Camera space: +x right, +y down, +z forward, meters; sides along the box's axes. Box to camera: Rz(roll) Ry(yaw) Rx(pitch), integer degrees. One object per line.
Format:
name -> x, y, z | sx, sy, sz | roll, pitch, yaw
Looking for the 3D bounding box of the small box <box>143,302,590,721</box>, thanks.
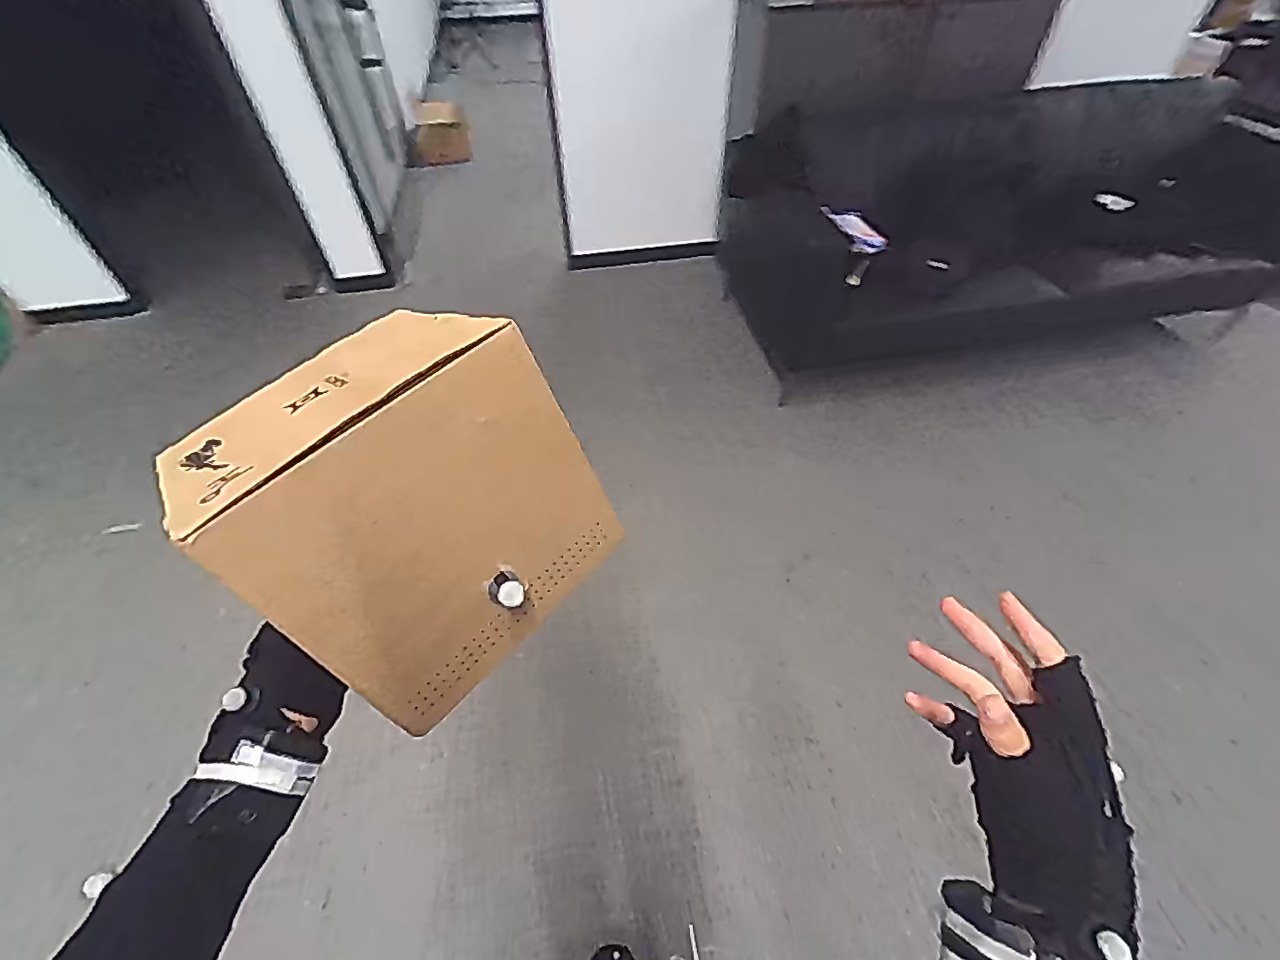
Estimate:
small box -> -0.153, 0.007, 0.343 | 0.168, 0.176, 0.179 | 19, 54, 44
